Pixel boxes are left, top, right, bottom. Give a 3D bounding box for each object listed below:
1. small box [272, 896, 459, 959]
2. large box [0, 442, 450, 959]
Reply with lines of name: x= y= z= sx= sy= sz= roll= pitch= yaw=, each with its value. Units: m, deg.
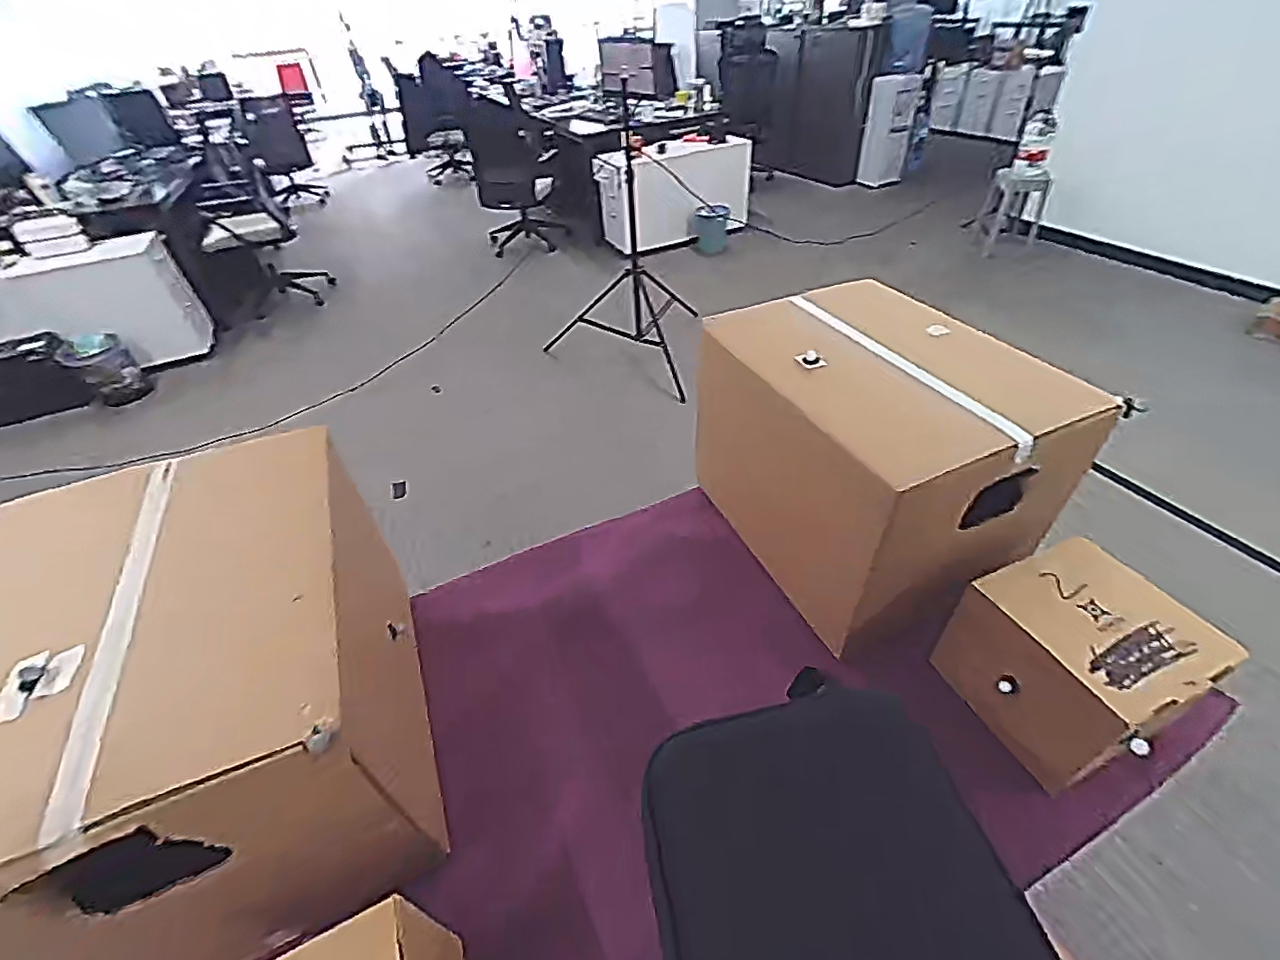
small box: x=-0.229 y=0.462 z=0.395 sx=0.179 sy=0.176 sz=0.168 roll=-21 pitch=43 yaw=-18
large box: x=-0.427 y=0.226 z=0.574 sx=0.320 sy=0.320 sz=0.408 roll=-19 pitch=46 yaw=-17
